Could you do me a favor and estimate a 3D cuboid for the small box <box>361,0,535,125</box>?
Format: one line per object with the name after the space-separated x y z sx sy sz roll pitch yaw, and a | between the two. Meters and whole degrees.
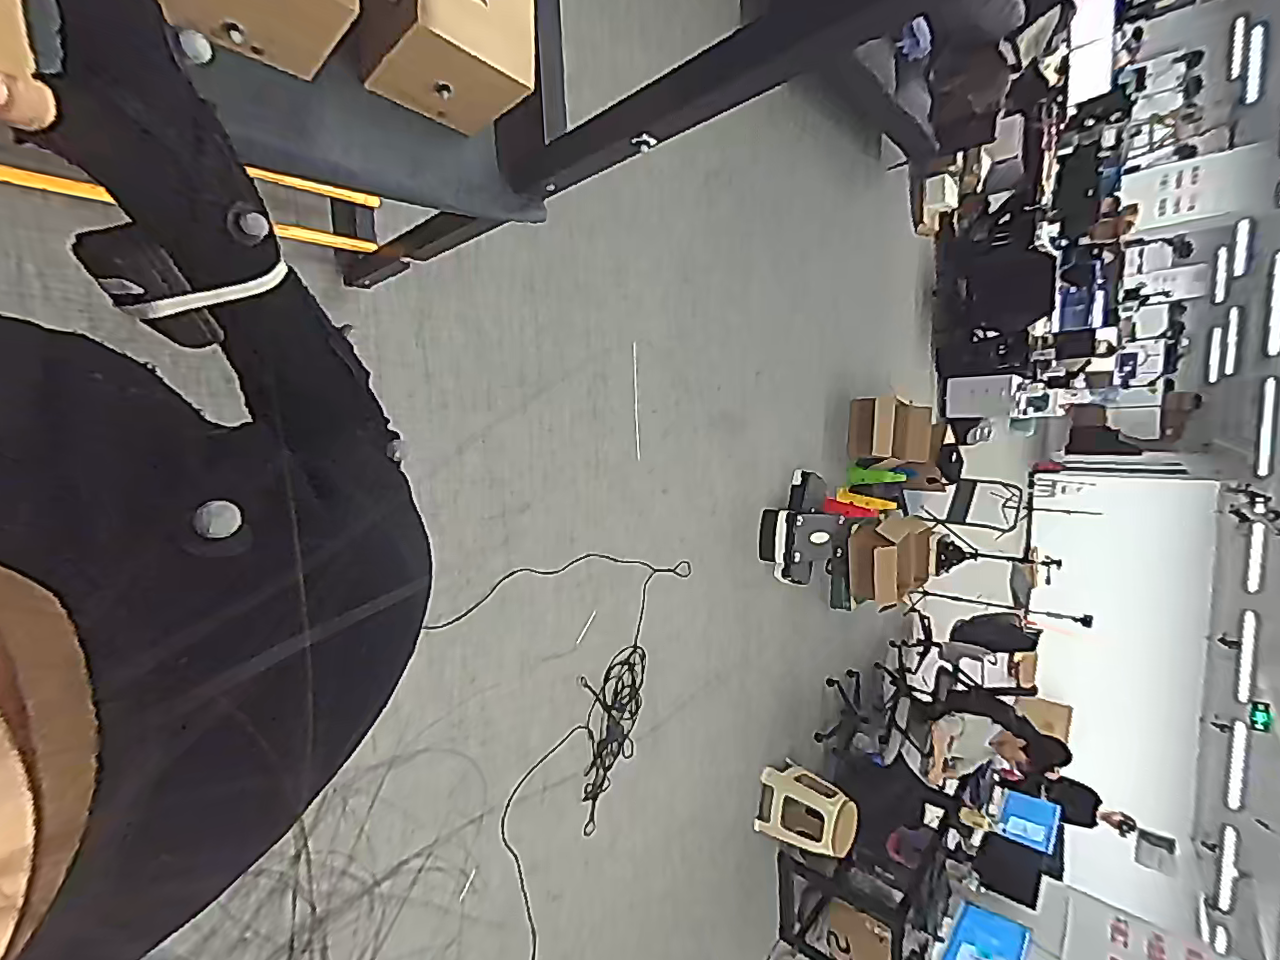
-0.258 -0.623 0.727 0.168 0.176 0.179 -4 95 -48 | small box
